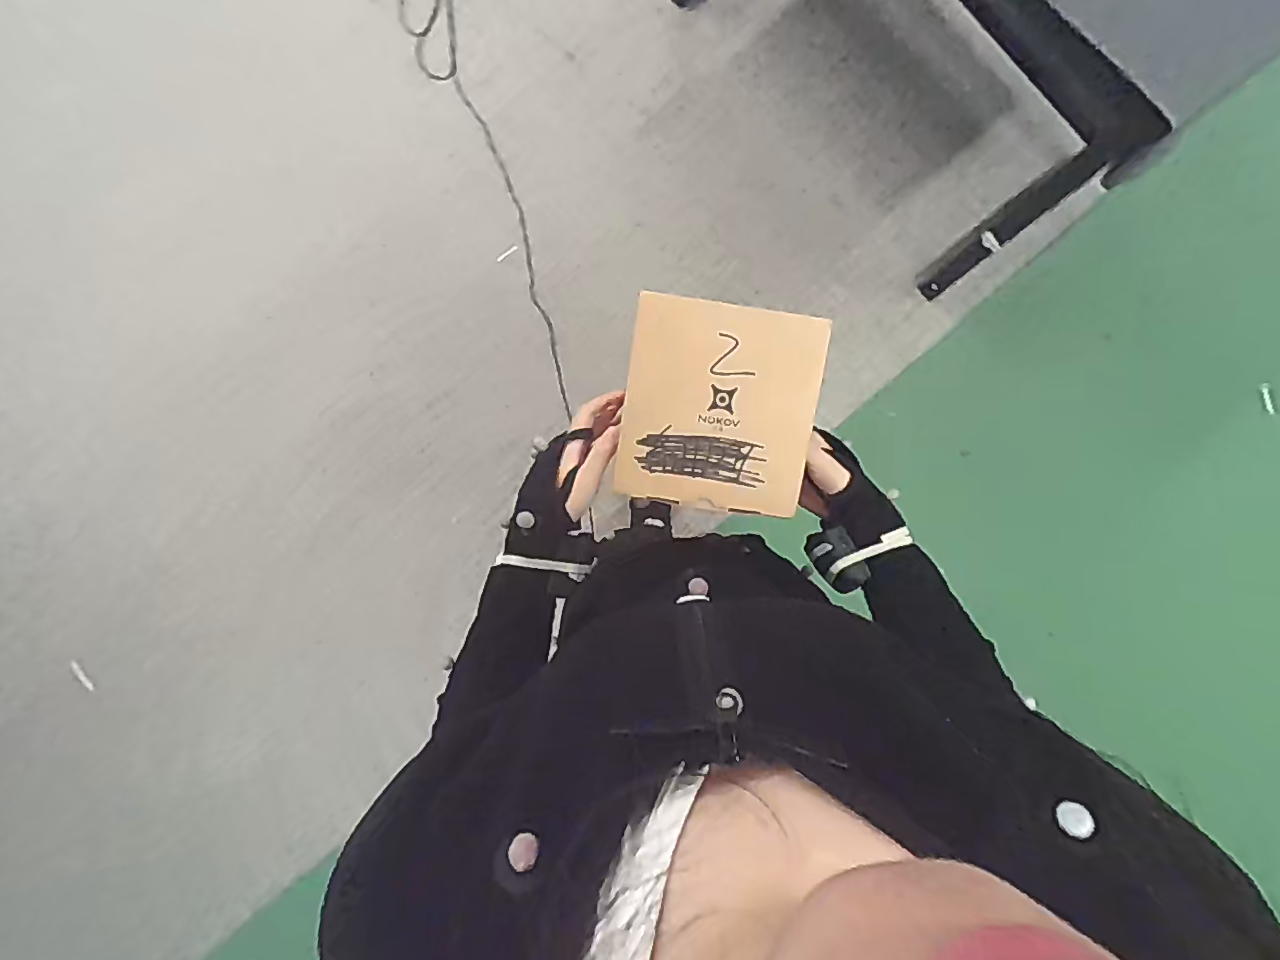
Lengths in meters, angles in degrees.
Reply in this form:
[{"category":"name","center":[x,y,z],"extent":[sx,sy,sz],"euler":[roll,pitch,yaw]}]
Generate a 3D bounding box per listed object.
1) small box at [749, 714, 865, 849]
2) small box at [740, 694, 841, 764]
[{"category":"small box","center":[0.373,0.680,1.240],"extent":[0.168,0.176,0.179],"euler":[-37,87,1]},{"category":"small box","center":[0.381,0.686,1.405],"extent":[0.168,0.176,0.179],"euler":[-40,87,2]}]
